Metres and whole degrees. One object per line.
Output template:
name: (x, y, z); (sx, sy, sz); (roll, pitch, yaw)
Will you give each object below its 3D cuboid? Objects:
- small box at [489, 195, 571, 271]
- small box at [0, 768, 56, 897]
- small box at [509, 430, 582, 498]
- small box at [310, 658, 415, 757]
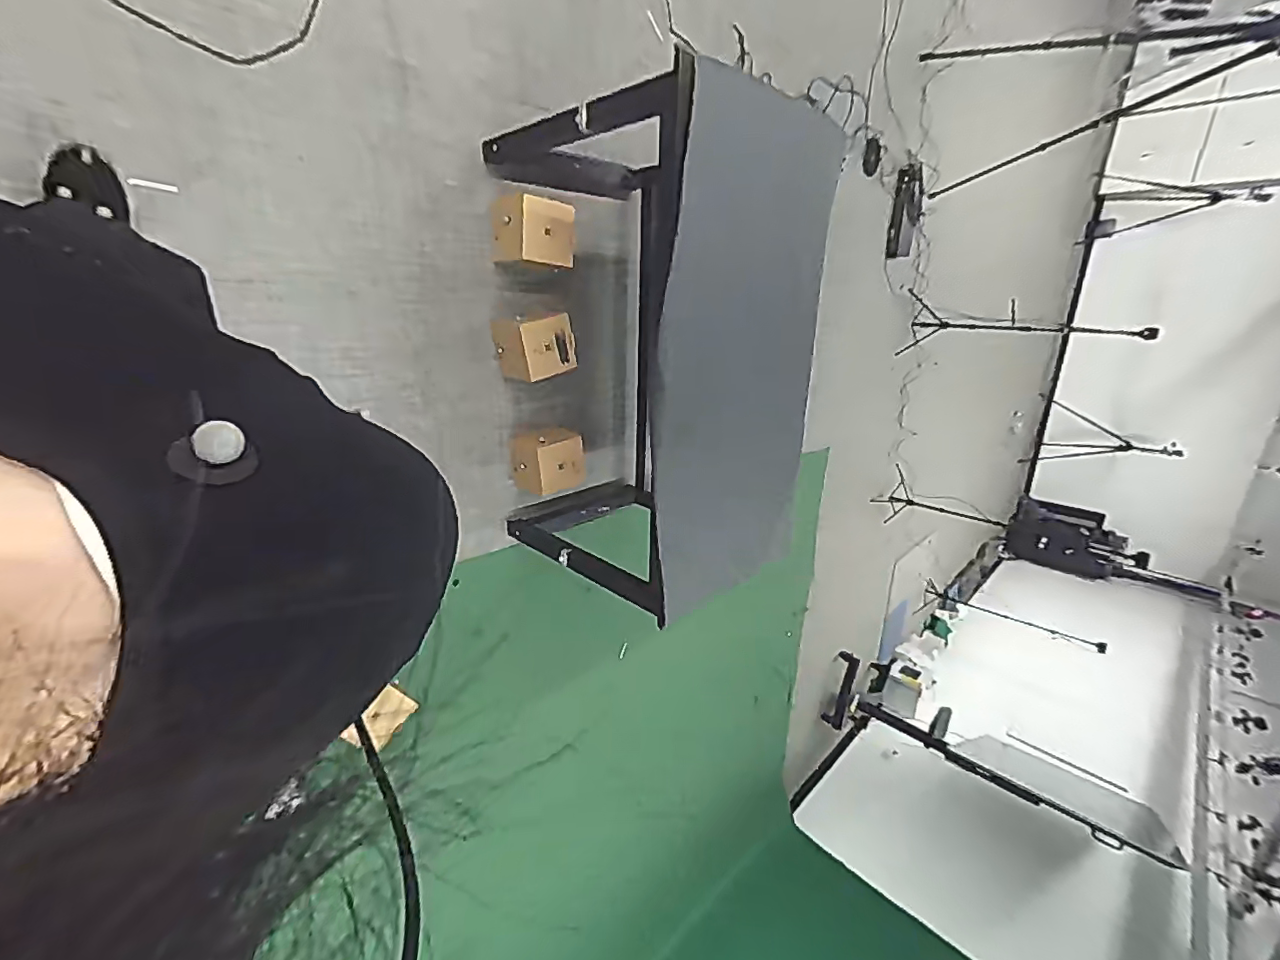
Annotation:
small box: (-0.320, -0.700, 1.555); (0.179, 0.176, 0.168); (-12, 111, -45)
small box: (-1.273, 0.695, 1.023); (0.179, 0.176, 0.168); (-33, 125, -34)
small box: (-0.314, -0.057, 1.776); (0.179, 0.176, 0.168); (-22, 119, -40)
small box: (-0.782, 0.635, 1.524); (0.168, 0.176, 0.179); (-48, 134, -24)
